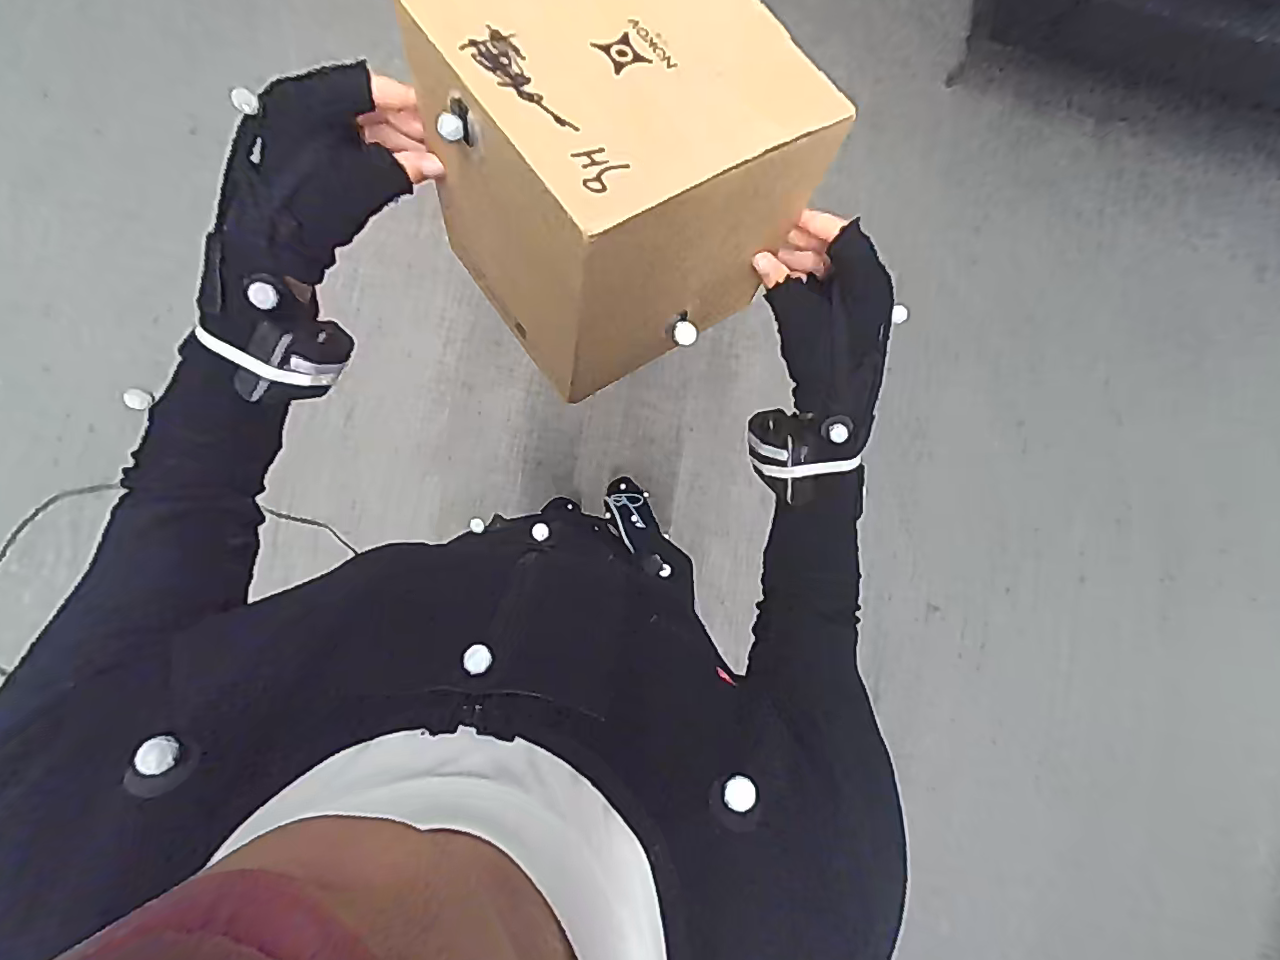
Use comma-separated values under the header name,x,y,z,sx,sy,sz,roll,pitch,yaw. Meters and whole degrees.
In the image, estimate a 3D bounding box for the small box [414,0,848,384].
name,x,y,z,sx,sy,sz,roll,pitch,yaw
small box,-0.015,-0.196,0.350,0.179,0.176,0.168,-34,80,-19
